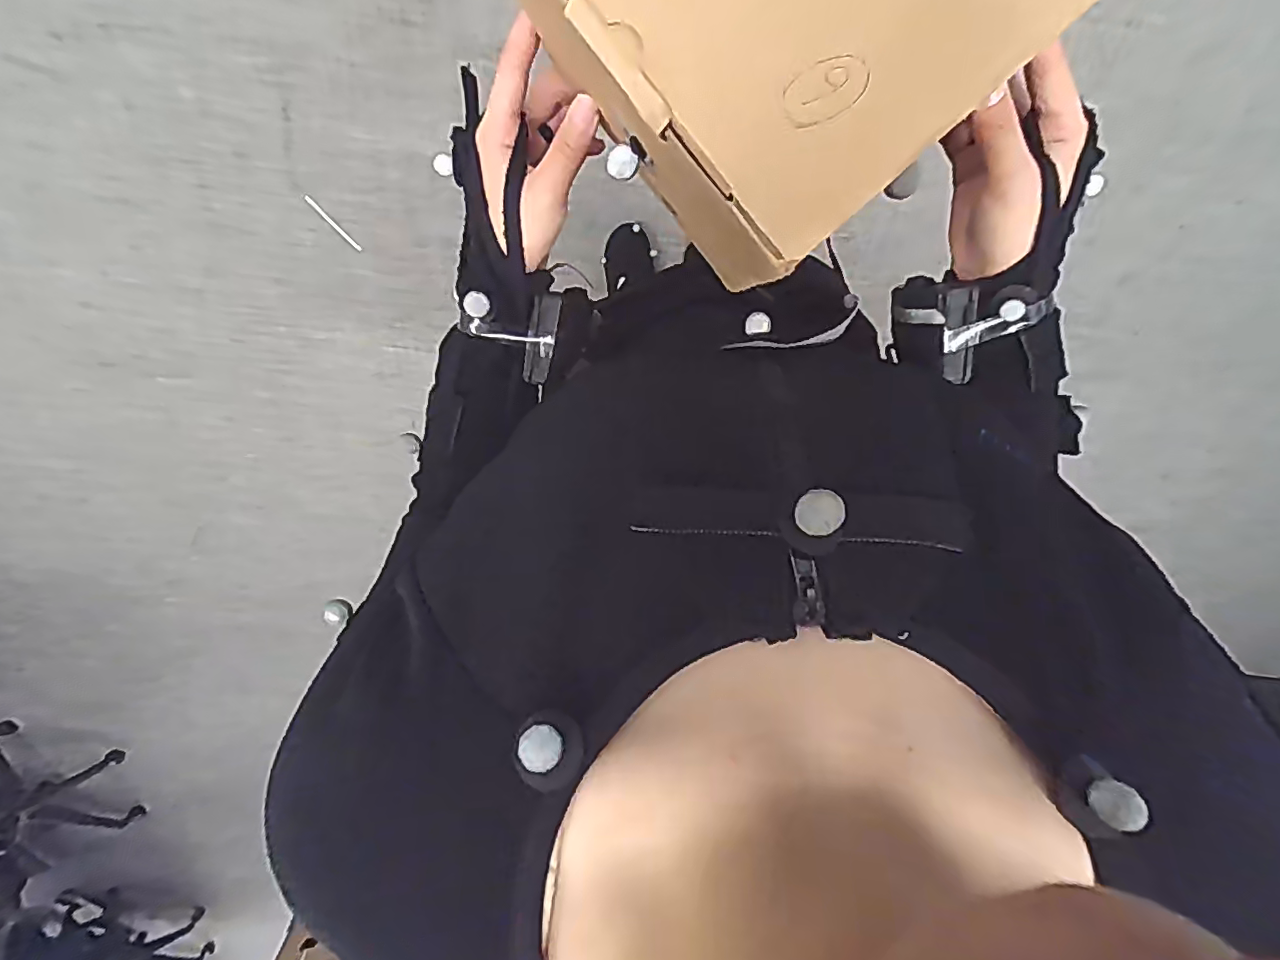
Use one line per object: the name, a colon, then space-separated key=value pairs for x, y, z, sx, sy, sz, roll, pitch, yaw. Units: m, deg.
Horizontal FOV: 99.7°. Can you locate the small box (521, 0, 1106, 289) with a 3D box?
small box: x=0.063 y=-0.199 z=0.224 sx=0.179 sy=0.176 sz=0.168 roll=-39 pitch=100 yaw=15
